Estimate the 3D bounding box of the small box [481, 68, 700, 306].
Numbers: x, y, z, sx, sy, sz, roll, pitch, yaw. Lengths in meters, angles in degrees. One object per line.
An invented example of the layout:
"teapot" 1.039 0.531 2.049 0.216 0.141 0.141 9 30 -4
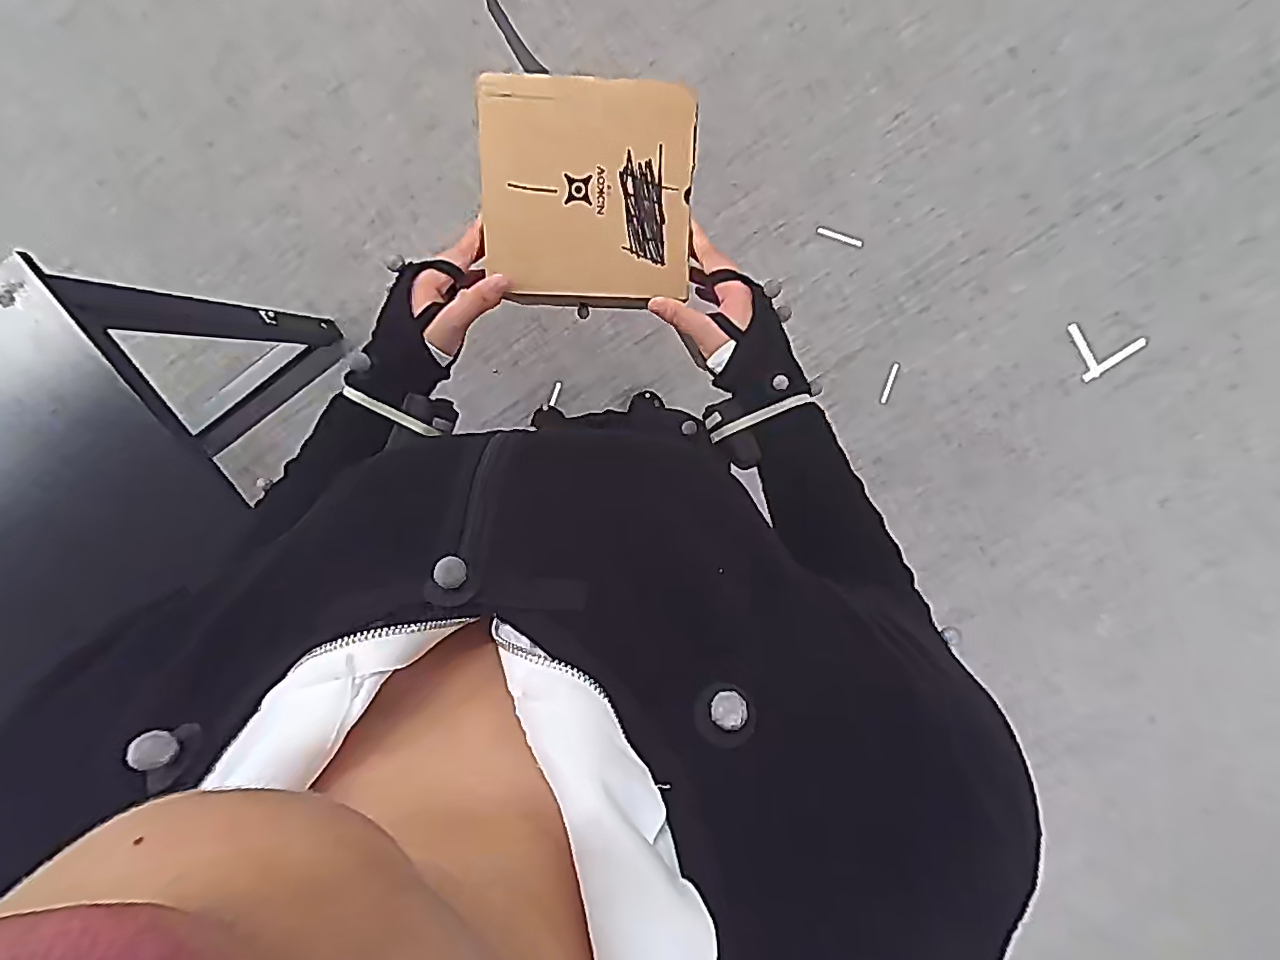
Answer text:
"small box" -0.045 -0.260 0.523 0.179 0.176 0.168 2 105 -2
